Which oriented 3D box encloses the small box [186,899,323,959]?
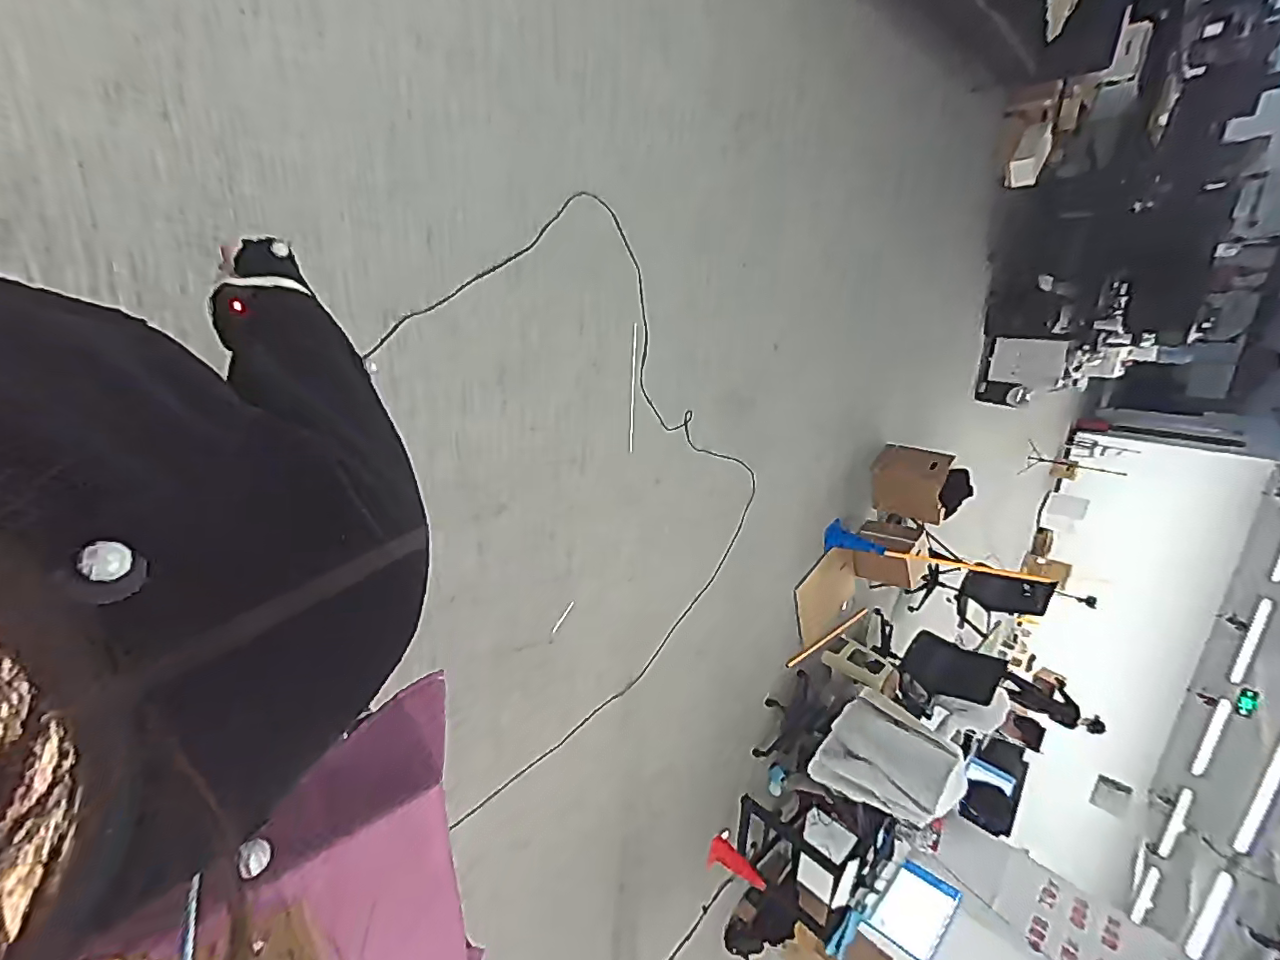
[{"bbox_3d":[-0.537,0.759,0.762,0.168,0.176,0.179,-15,114,-42],"label":"small box"}]
